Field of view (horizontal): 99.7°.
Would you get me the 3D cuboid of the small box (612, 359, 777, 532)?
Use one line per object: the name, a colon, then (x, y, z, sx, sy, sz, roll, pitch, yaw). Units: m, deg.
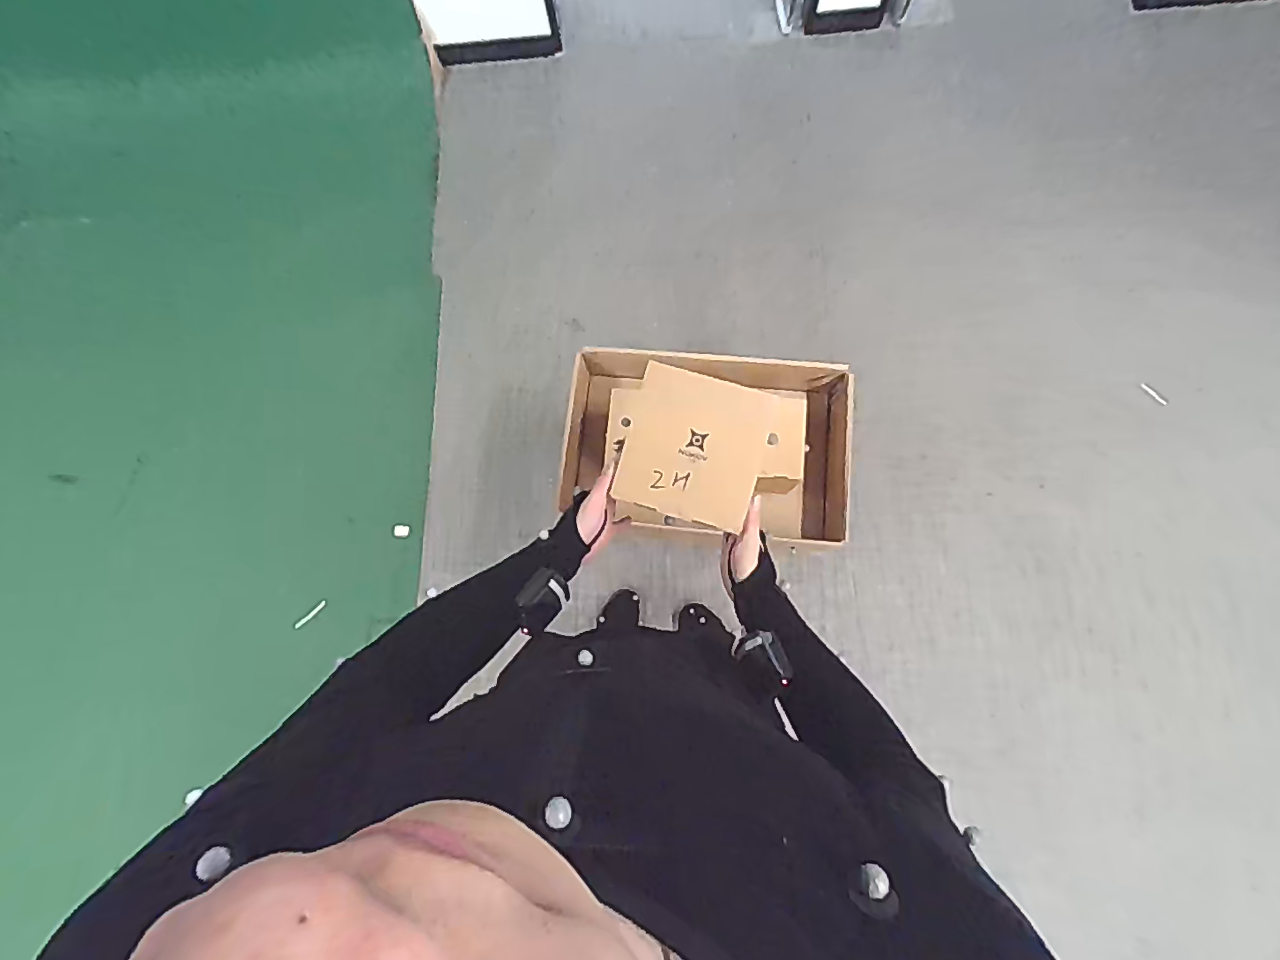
small box: (0.067, -0.041, 0.735, 0.168, 0.176, 0.179, 16, 90, 1)

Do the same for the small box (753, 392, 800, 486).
small box: (0.254, -0.092, 1.217, 0.168, 0.176, 0.179, 5, 81, 4)
